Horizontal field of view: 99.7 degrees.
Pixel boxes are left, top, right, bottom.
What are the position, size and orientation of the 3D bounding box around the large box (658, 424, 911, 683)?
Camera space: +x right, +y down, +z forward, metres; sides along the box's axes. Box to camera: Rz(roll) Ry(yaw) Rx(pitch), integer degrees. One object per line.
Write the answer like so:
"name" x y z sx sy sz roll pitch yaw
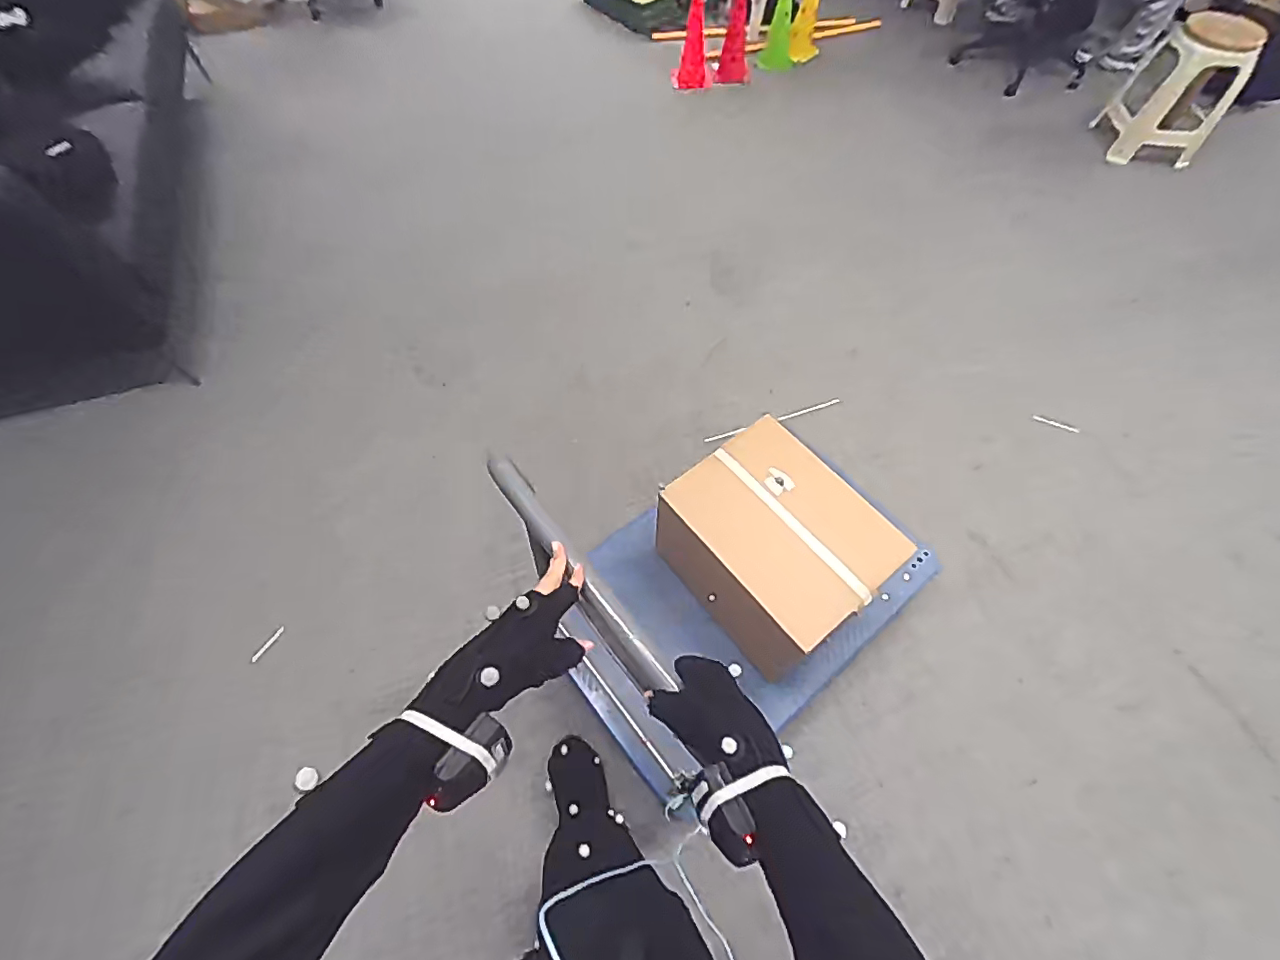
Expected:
"large box" 0.281 0.164 1.187 0.320 0.320 0.408 -34 64 -18
